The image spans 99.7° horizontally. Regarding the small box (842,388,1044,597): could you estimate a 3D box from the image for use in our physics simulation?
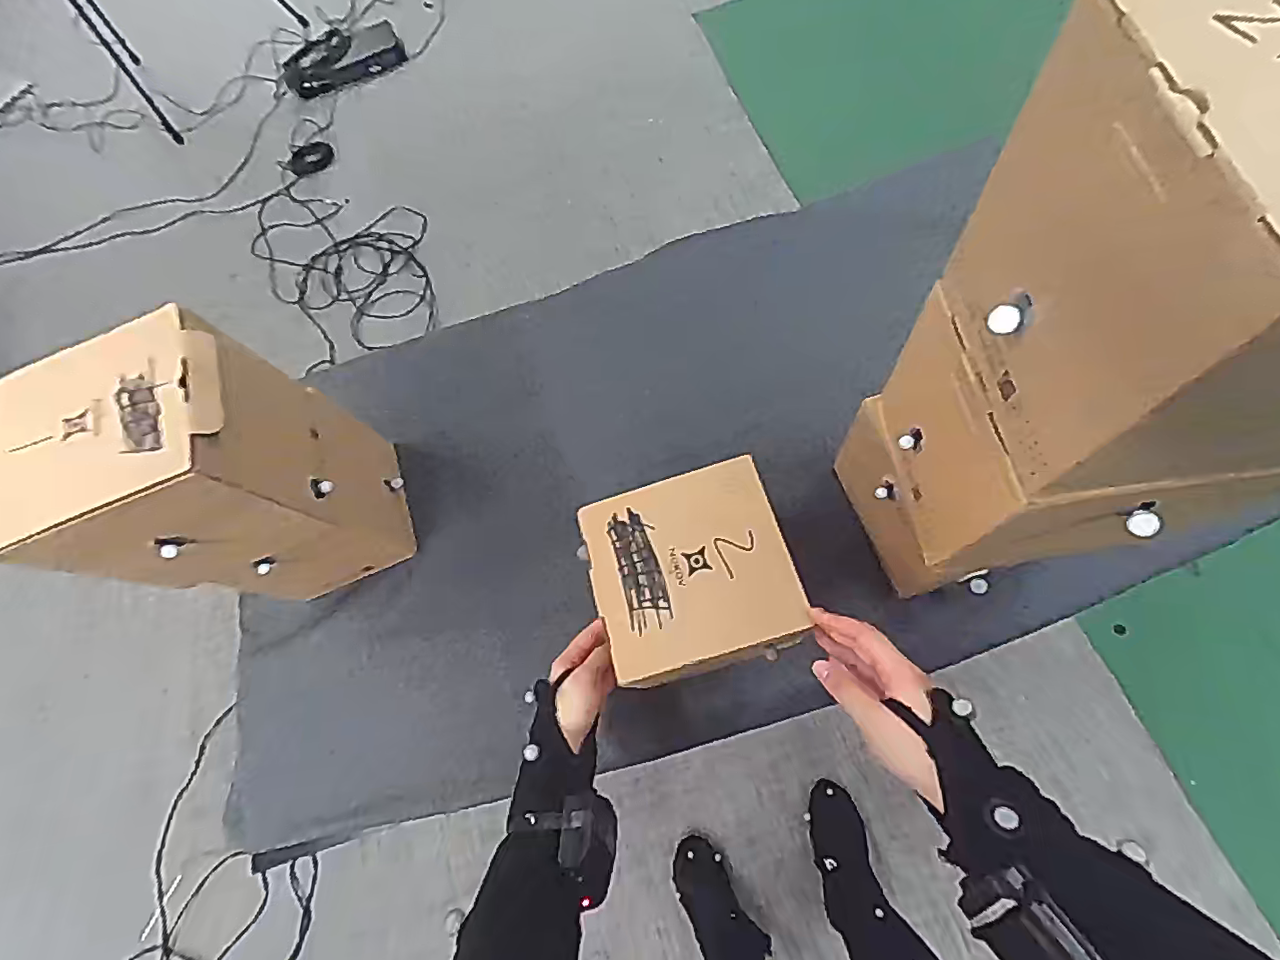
[{"bbox_3d":[0.325,0.003,0.549,0.168,0.176,0.179,-19,67,3],"label":"small box"}]

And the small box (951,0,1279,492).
[{"bbox_3d":[0.279,-0.105,0.244,0.179,0.176,0.168,-8,67,8],"label":"small box"}]

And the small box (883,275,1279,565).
[{"bbox_3d":[0.304,-0.042,0.394,0.179,0.176,0.168,-9,67,8],"label":"small box"}]

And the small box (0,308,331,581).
[{"bbox_3d":[-0.418,-0.019,0.504,0.179,0.176,0.168,-22,69,1],"label":"small box"}]

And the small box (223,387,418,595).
[{"bbox_3d":[-0.401,0.022,0.663,0.168,0.176,0.179,-23,68,0],"label":"small box"}]
